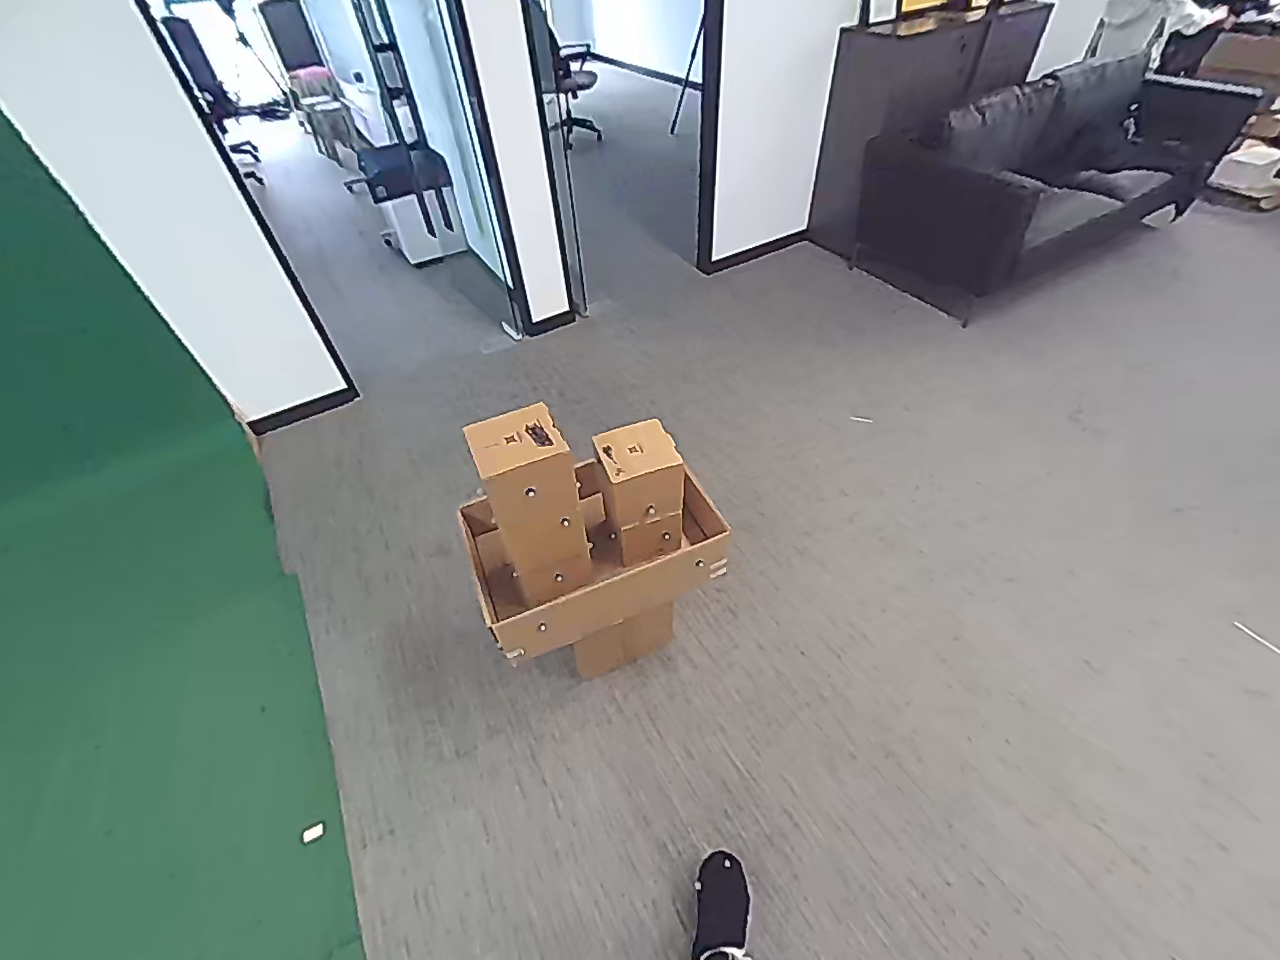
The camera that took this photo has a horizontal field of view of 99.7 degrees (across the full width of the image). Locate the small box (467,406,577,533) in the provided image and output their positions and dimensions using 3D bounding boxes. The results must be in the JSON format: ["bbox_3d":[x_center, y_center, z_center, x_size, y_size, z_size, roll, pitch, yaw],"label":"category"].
[{"bbox_3d":[-0.239,-0.021,1.129,0.179,0.176,0.168,-21,50,-13],"label":"small box"}]

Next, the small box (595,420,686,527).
[{"bbox_3d":[0.001,-0.015,1.322,0.179,0.176,0.168,-18,49,-10],"label":"small box"}]

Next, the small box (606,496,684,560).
[{"bbox_3d":[0.014,0.092,1.443,0.168,0.176,0.179,-17,49,-10],"label":"small box"}]
